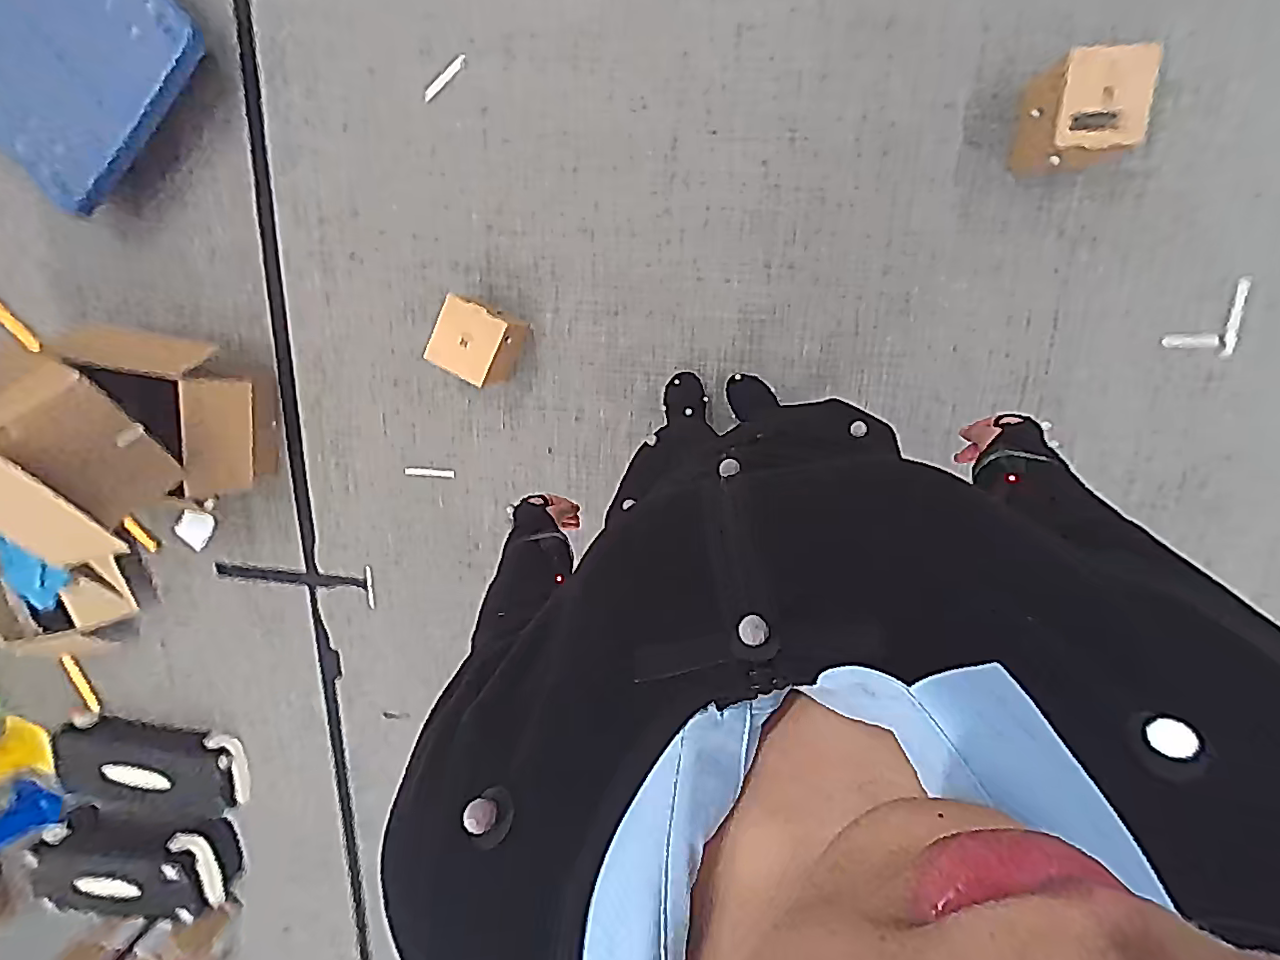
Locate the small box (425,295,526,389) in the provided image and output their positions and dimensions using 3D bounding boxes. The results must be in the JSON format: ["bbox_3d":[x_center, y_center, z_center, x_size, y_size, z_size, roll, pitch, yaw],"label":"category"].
[{"bbox_3d":[-0.418,-0.355,1.403,0.168,0.176,0.179,28,105,0],"label":"small box"}]
